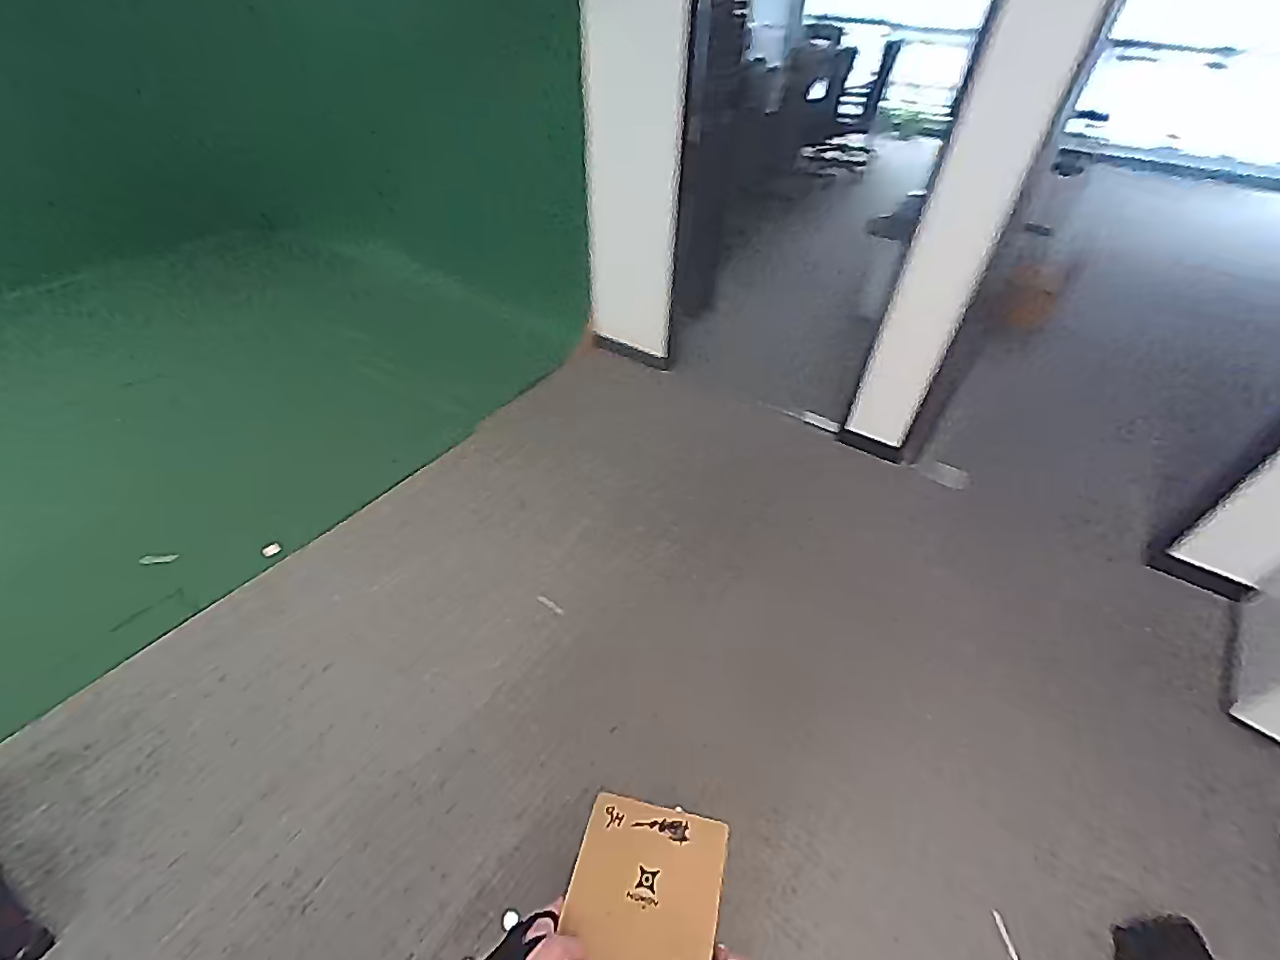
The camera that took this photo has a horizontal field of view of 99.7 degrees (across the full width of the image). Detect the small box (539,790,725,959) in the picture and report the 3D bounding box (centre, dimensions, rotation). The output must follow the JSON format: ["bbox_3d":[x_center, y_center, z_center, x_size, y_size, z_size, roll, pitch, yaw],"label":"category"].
[{"bbox_3d":[0.004,0.504,0.624,0.168,0.176,0.179,6,36,14],"label":"small box"}]
